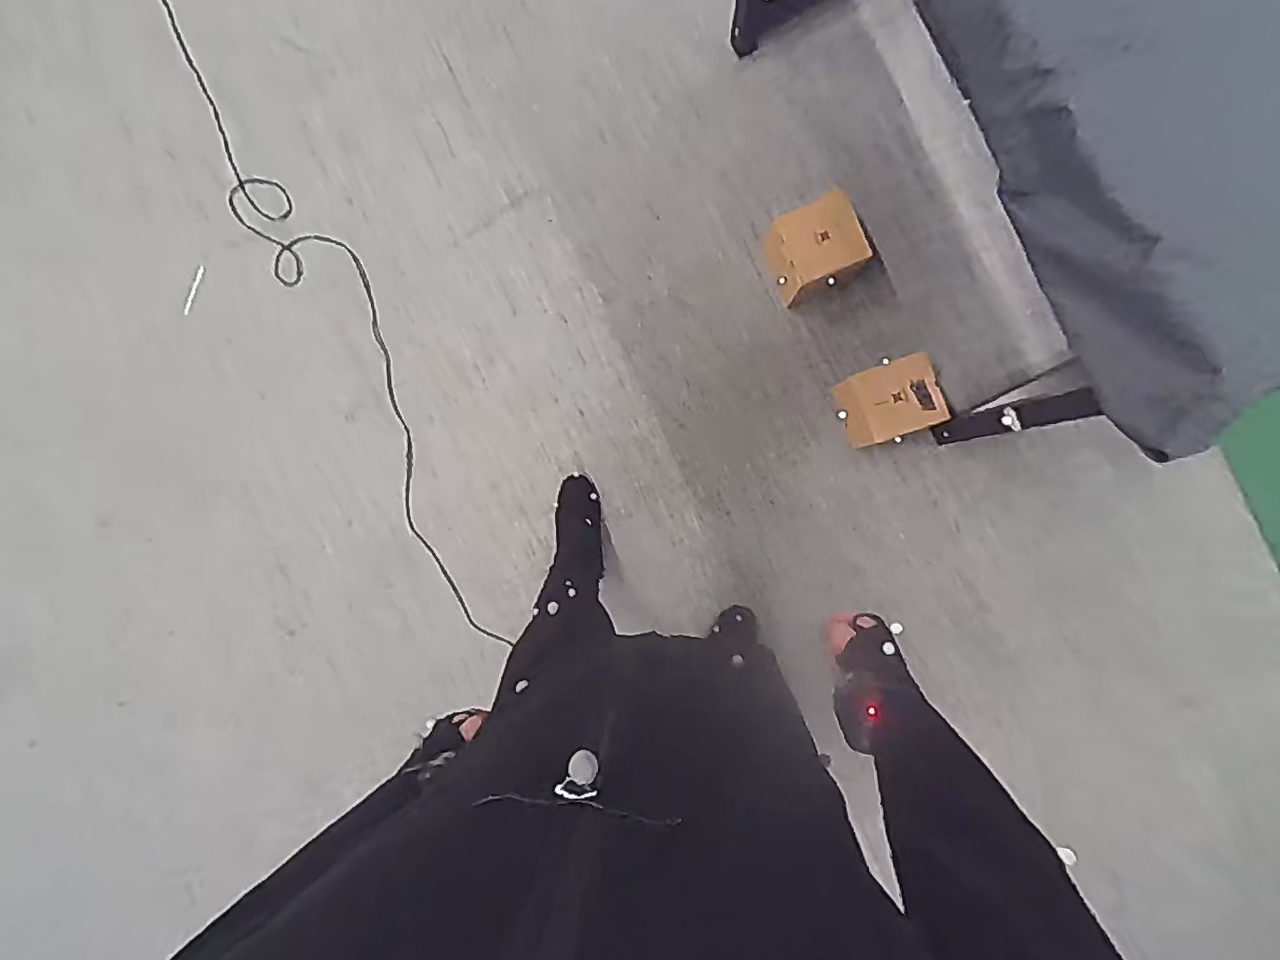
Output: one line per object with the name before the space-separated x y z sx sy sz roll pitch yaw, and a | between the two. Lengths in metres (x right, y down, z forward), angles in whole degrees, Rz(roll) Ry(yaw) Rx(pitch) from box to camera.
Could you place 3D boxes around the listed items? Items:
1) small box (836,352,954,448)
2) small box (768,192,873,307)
small box | 0.593 -0.182 1.280 0.179 0.176 0.168 -19 87 4
small box | 0.423 -0.546 1.306 0.179 0.176 0.168 -23 88 1
